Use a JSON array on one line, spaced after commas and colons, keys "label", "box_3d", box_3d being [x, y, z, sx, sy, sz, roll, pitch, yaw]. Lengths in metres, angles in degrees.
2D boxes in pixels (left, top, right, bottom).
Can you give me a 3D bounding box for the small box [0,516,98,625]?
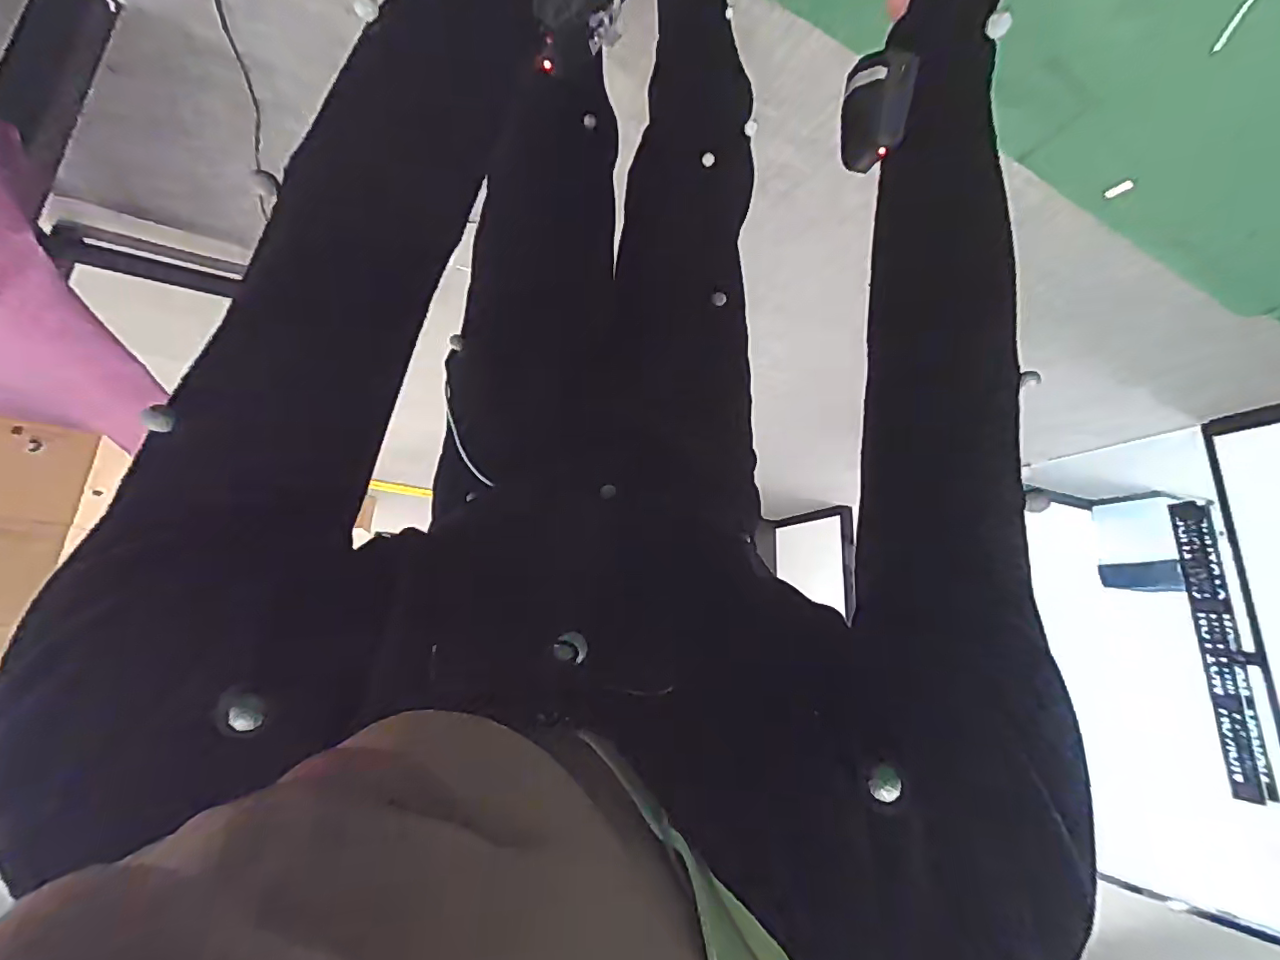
[{"label": "small box", "box_3d": [-1.066, 0.153, 0.906, 0.168, 0.176, 0.179, 12, 162, -28]}]
